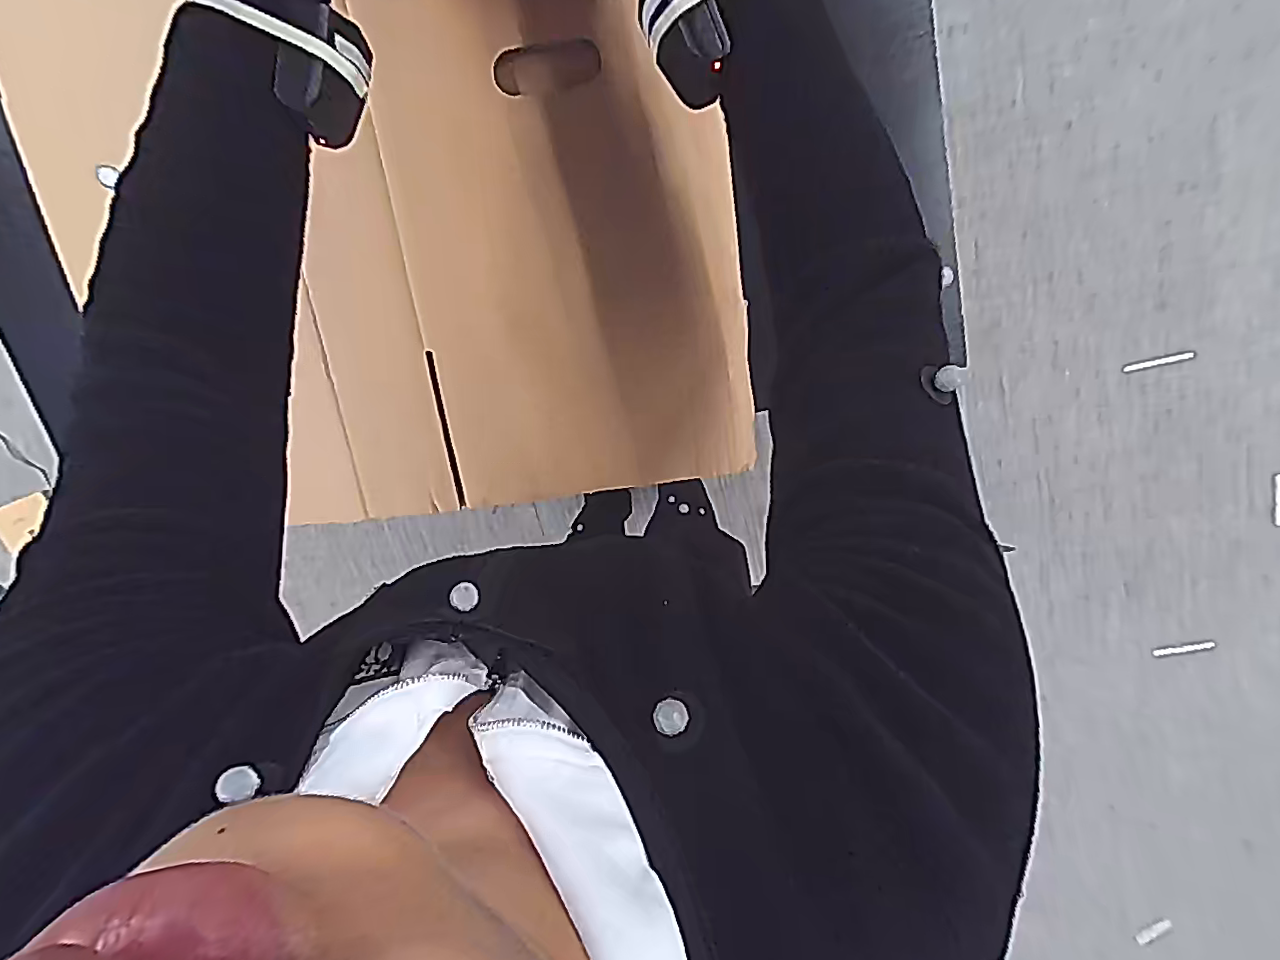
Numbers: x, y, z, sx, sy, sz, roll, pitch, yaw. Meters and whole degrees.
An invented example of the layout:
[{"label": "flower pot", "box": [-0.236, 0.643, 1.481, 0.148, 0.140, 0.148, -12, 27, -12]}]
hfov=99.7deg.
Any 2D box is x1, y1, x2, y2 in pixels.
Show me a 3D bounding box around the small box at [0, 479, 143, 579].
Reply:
[{"label": "small box", "box": [-1.403, 0.115, 1.336, 0.168, 0.176, 0.179, -19, 101, 8]}]
